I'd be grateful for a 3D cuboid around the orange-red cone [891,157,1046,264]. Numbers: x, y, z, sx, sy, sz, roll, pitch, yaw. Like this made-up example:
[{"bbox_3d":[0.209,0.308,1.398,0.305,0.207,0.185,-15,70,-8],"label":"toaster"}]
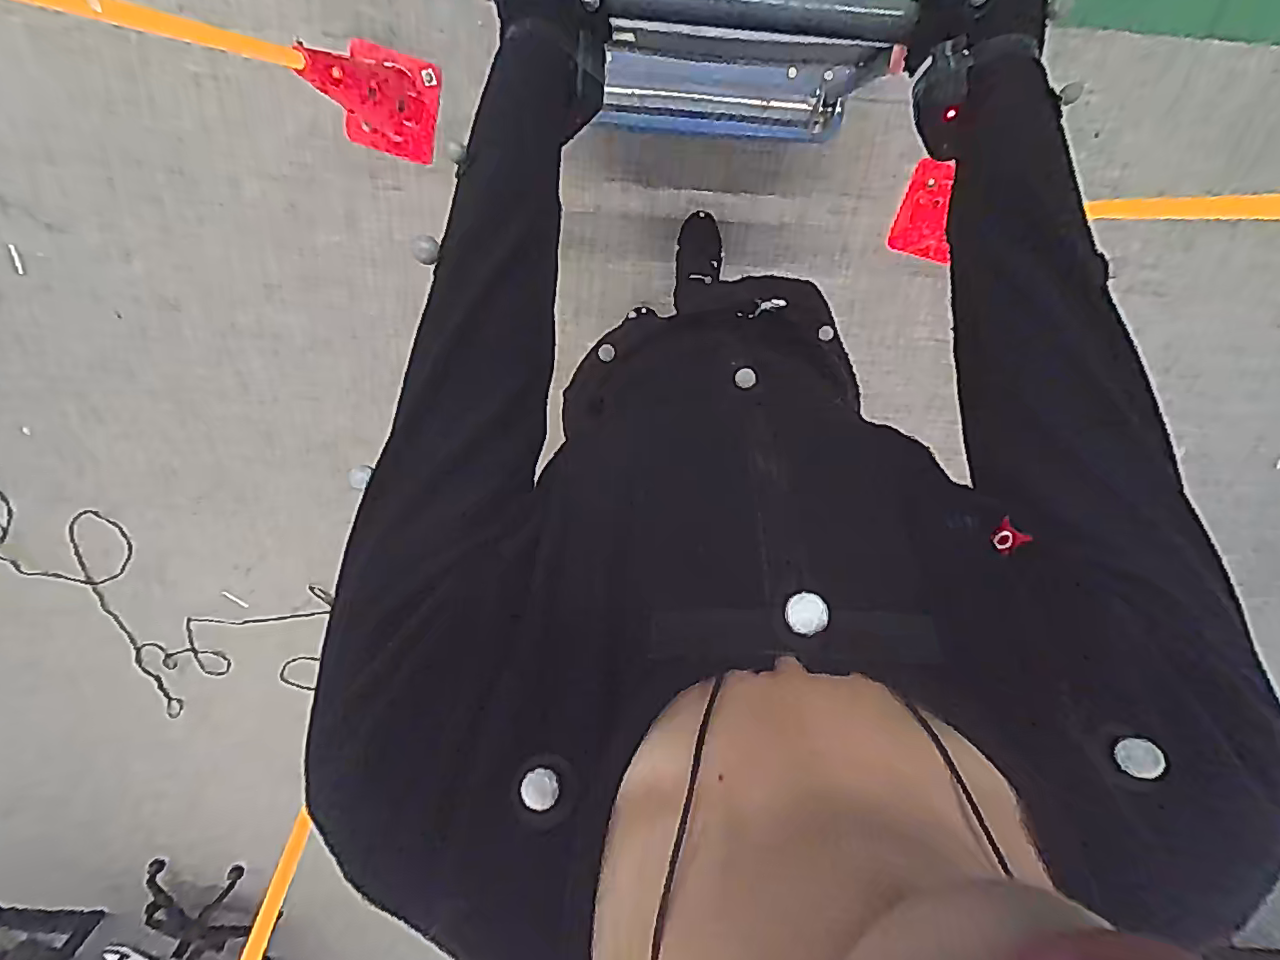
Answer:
[{"bbox_3d":[0.711,-0.557,1.119,0.198,0.360,0.199,14,115,-5],"label":"orange-red cone"}]
